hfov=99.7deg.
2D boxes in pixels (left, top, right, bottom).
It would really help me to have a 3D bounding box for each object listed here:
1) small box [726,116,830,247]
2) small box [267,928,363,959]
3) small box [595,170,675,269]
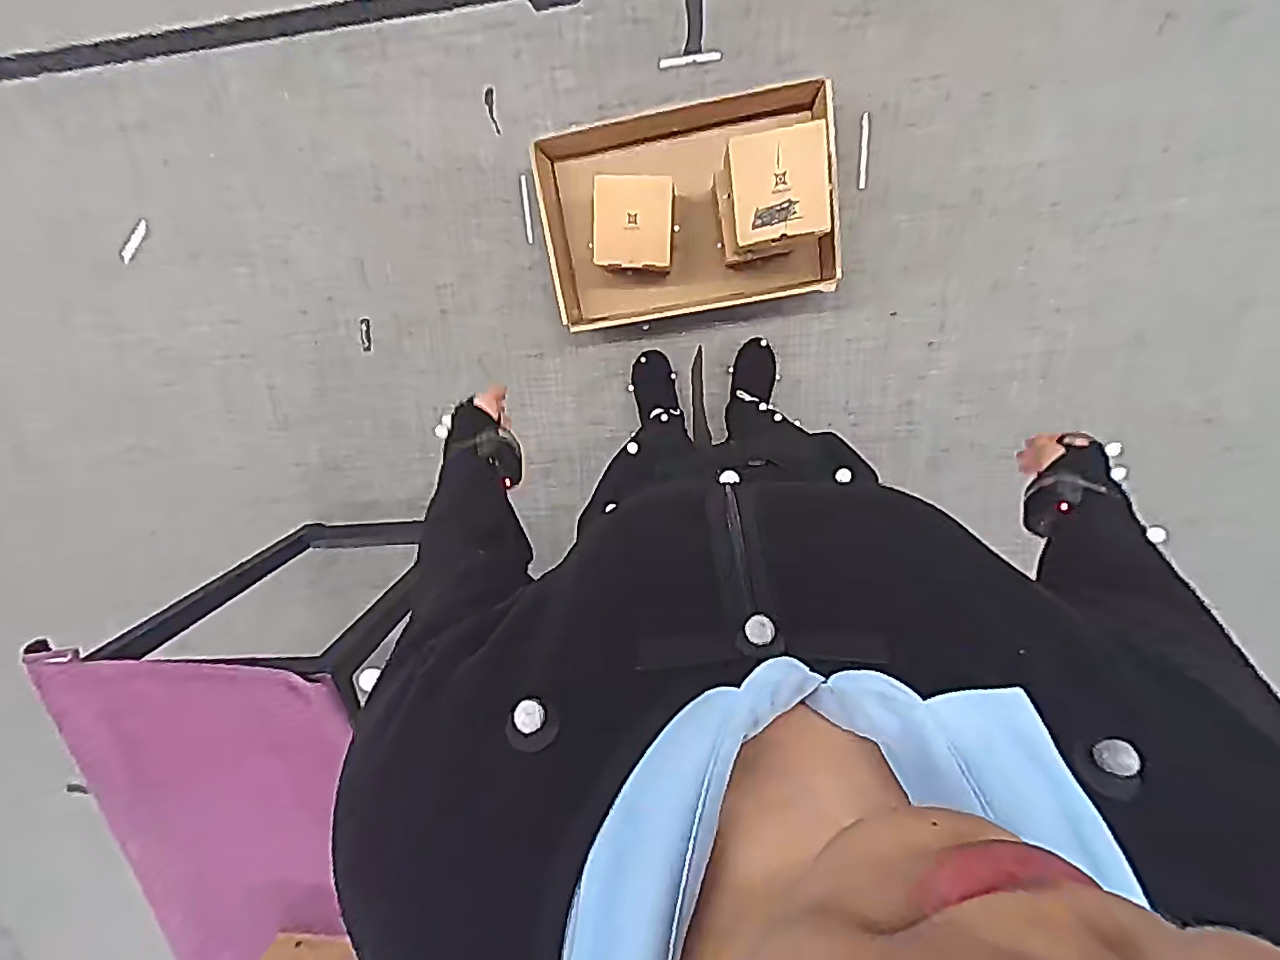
[{"bbox_3d":[0.252,-0.541,1.008,0.168,0.176,0.179,-7,107,8],"label":"small box"},{"bbox_3d":[-0.694,1.074,1.117,0.168,0.176,0.179,-2,109,7],"label":"small box"},{"bbox_3d":[-0.008,-0.570,1.201,0.168,0.176,0.179,2,109,3],"label":"small box"}]
